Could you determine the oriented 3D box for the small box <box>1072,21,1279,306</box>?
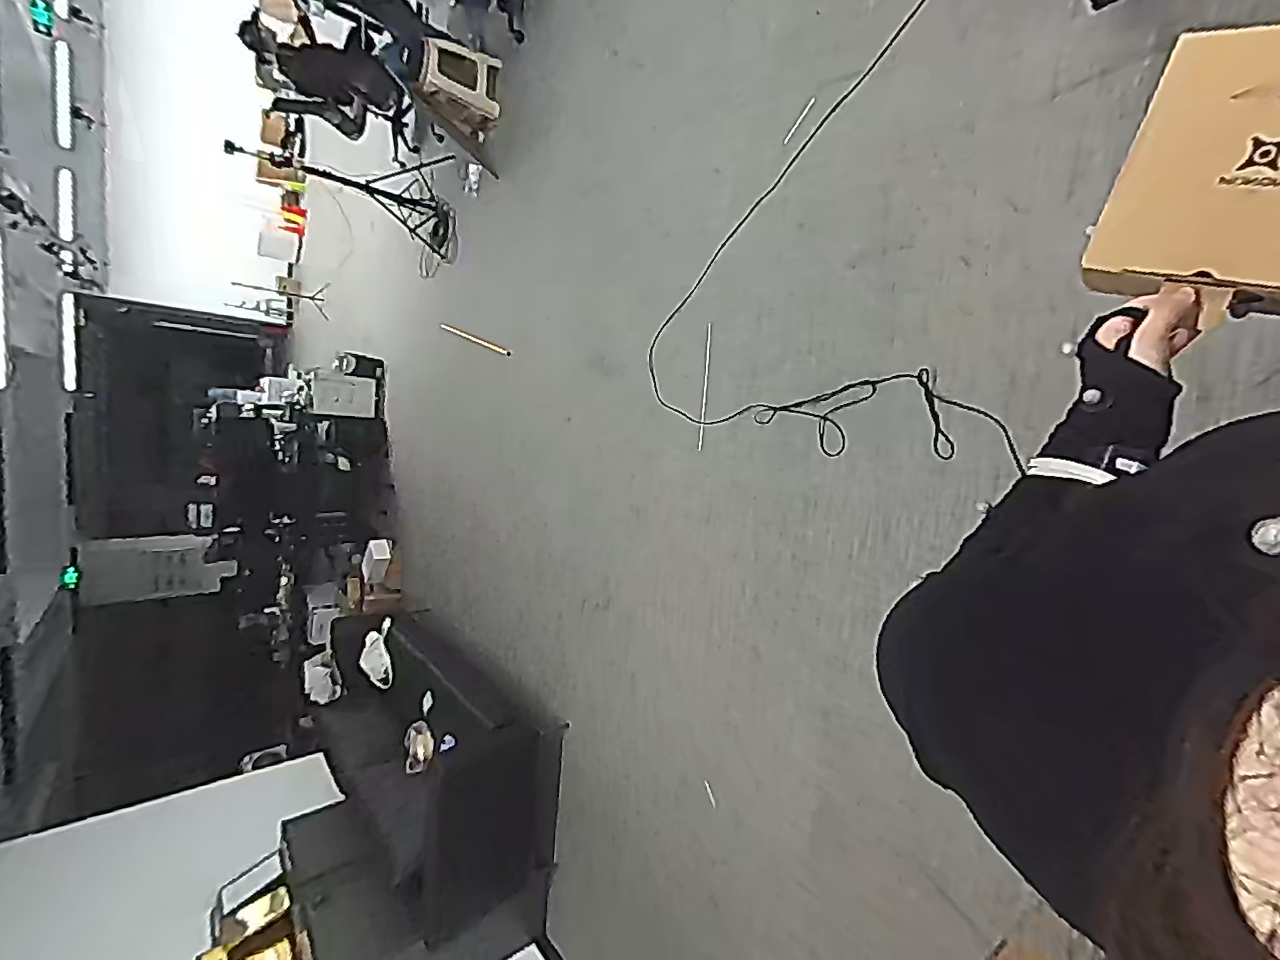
[{"bbox_3d":[0.517,-0.258,0.469,0.168,0.176,0.179,27,114,35],"label":"small box"}]
